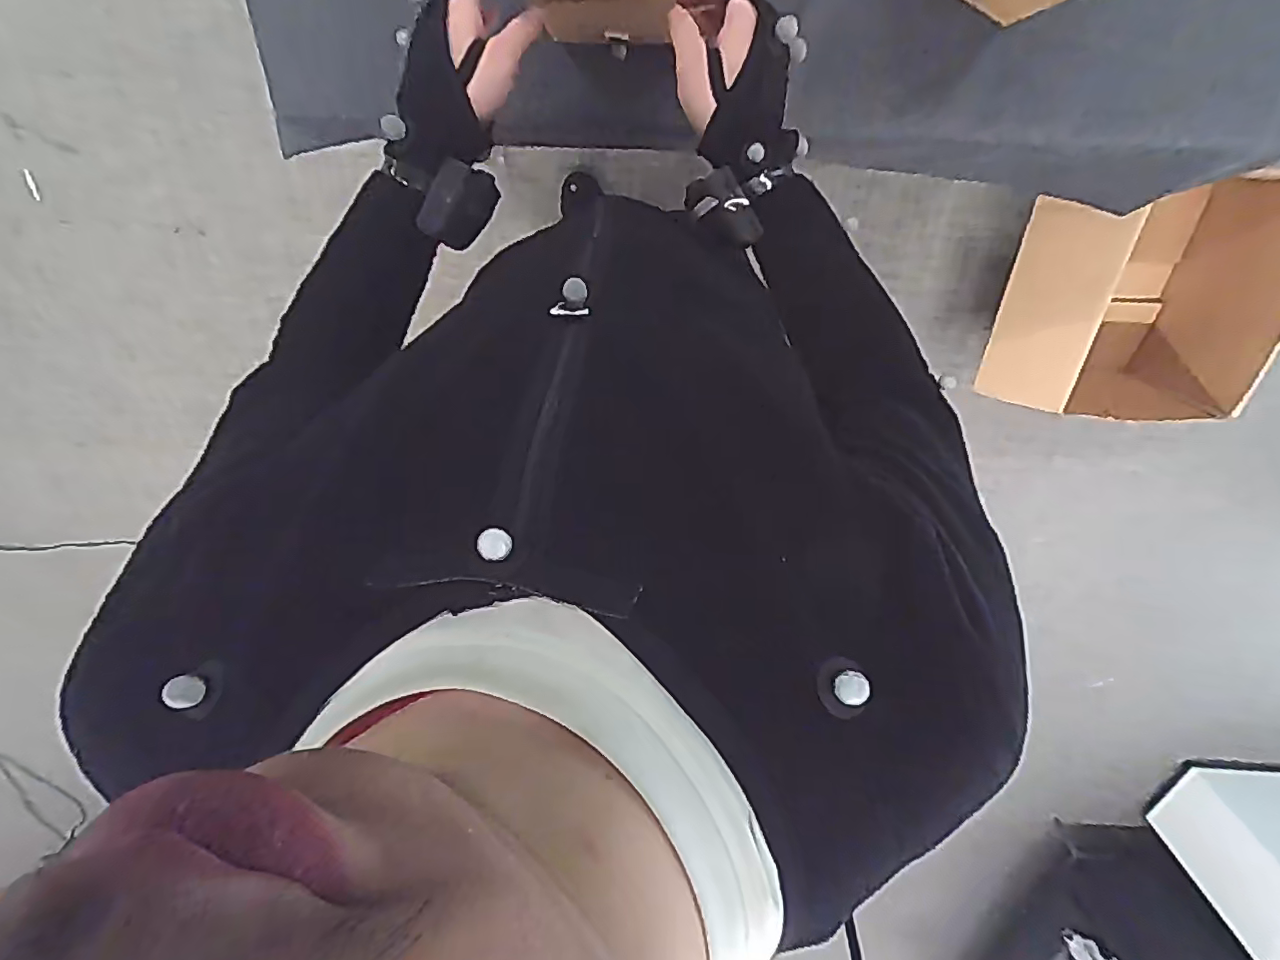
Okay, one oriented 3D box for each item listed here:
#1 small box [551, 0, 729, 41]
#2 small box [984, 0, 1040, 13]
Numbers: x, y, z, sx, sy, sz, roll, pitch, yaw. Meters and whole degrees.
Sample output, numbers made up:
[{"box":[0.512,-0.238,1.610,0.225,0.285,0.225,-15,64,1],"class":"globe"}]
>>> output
[{"box":[-0.005,-0.514,0.474,0.168,0.176,0.179,0,120,1],"class":"small box"},{"box":[0.359,-0.553,0.464,0.168,0.176,0.179,22,120,-11],"class":"small box"}]
